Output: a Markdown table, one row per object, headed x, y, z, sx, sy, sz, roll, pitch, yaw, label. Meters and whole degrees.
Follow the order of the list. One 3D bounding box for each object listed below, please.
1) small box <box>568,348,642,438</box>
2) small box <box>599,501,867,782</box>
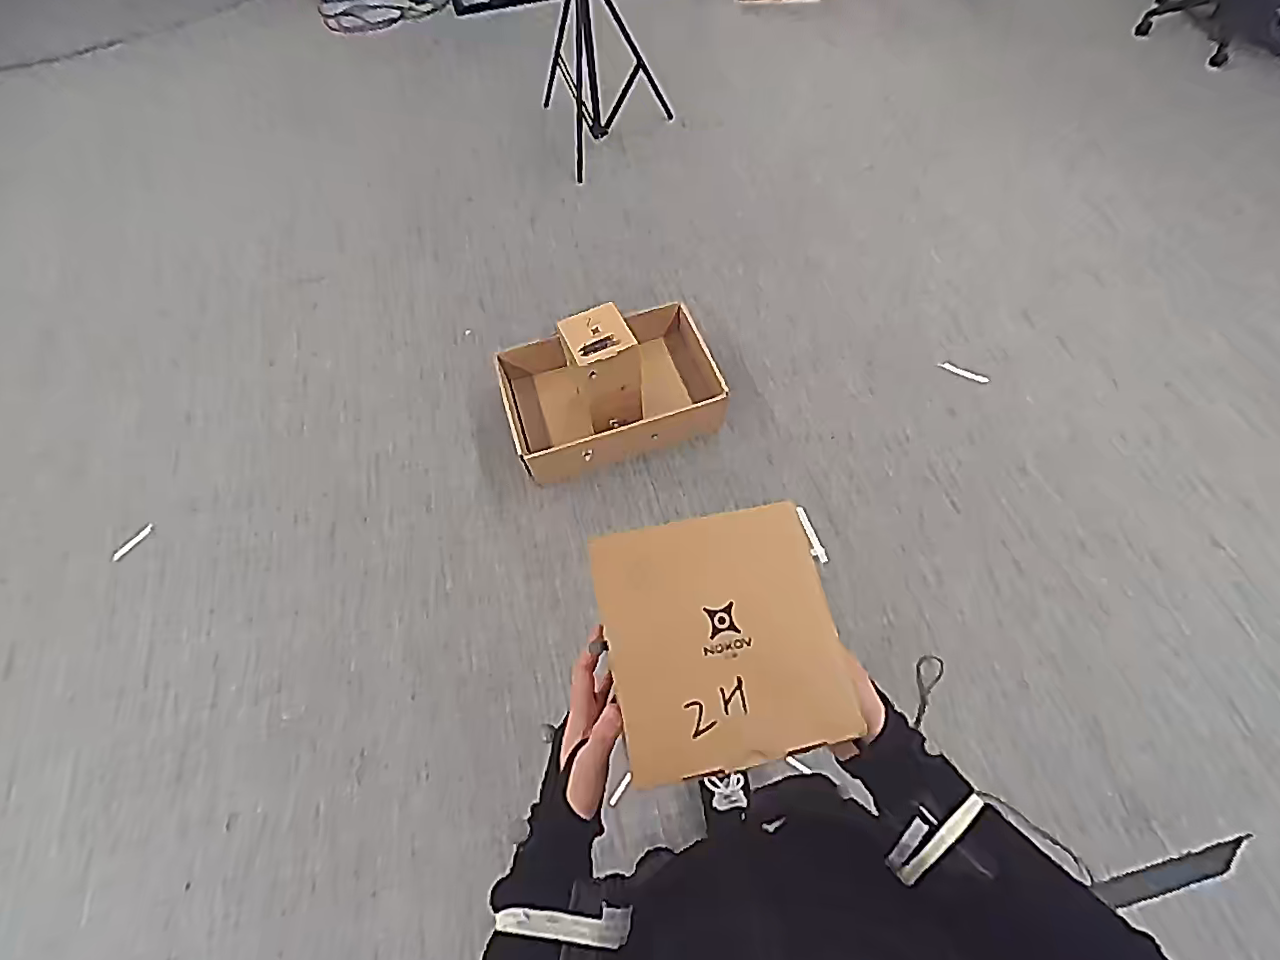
| x | y | z | sx | sy | sz | roll | pitch | yaw | label |
| --- | --- | --- | --- | --- | --- | --- | --- | --- | --- |
| -0.102 | -0.259 | 1.629 | 0.168 | 0.176 | 0.179 | -23 | 64 | -8 | small box |
| 0.057 | 0.137 | 0.468 | 0.168 | 0.176 | 0.179 | -10 | 70 | -7 | small box |
